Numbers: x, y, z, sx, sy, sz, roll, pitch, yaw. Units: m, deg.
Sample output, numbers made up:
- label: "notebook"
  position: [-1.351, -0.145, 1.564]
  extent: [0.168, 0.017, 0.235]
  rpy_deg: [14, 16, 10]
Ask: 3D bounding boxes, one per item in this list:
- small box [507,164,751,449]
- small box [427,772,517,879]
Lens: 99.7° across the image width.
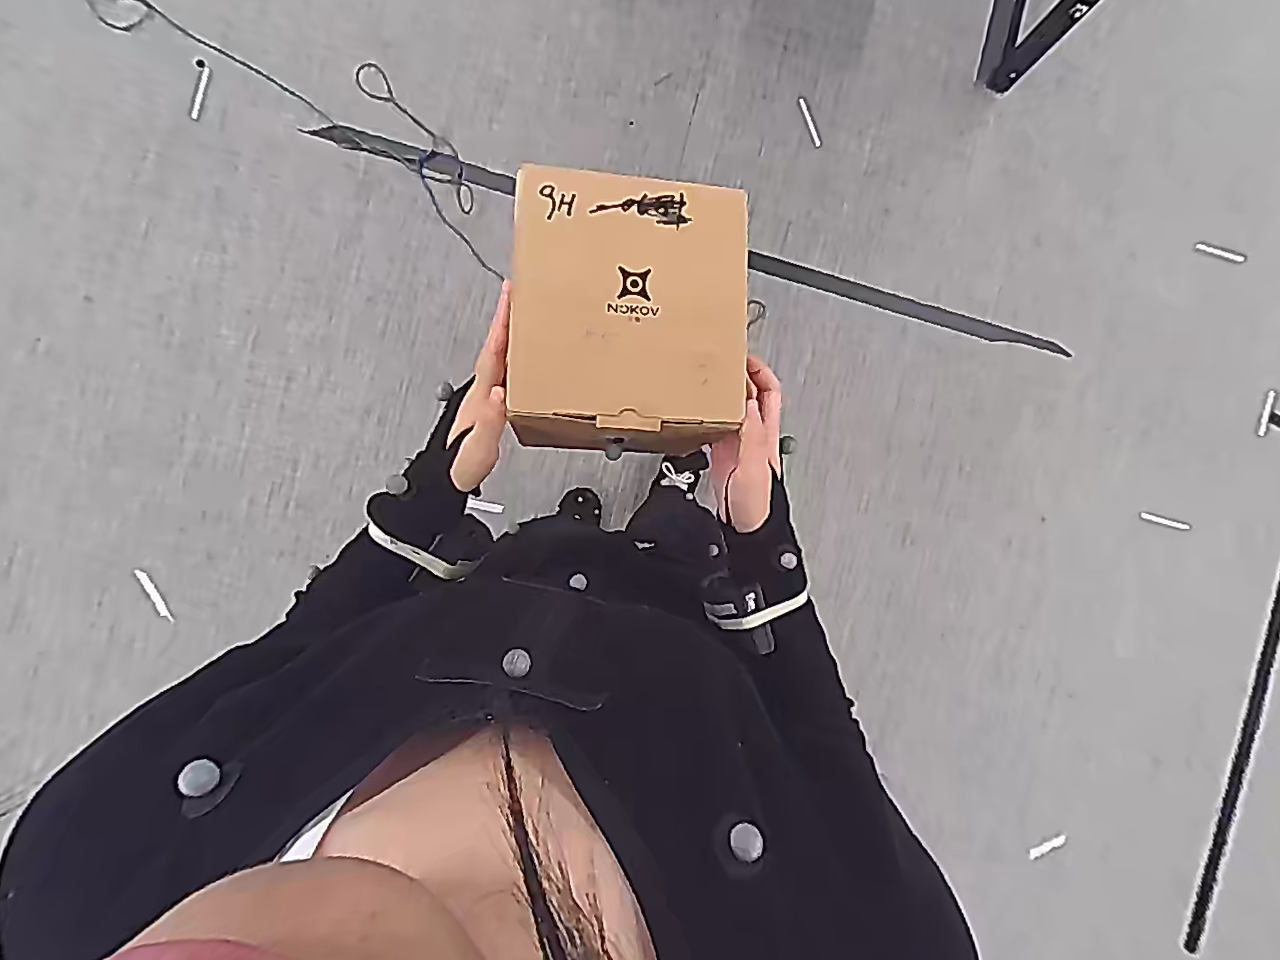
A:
- label: "small box"
  position: [-0.015, -0.121, 0.452]
  extent: [0.168, 0.176, 0.179]
  rpy_deg: [2, 86, -9]
- label: "small box"
  position: [-0.428, 0.885, 1.399]
  extent: [0.179, 0.176, 0.168]
  rpy_deg: [9, 91, -4]
